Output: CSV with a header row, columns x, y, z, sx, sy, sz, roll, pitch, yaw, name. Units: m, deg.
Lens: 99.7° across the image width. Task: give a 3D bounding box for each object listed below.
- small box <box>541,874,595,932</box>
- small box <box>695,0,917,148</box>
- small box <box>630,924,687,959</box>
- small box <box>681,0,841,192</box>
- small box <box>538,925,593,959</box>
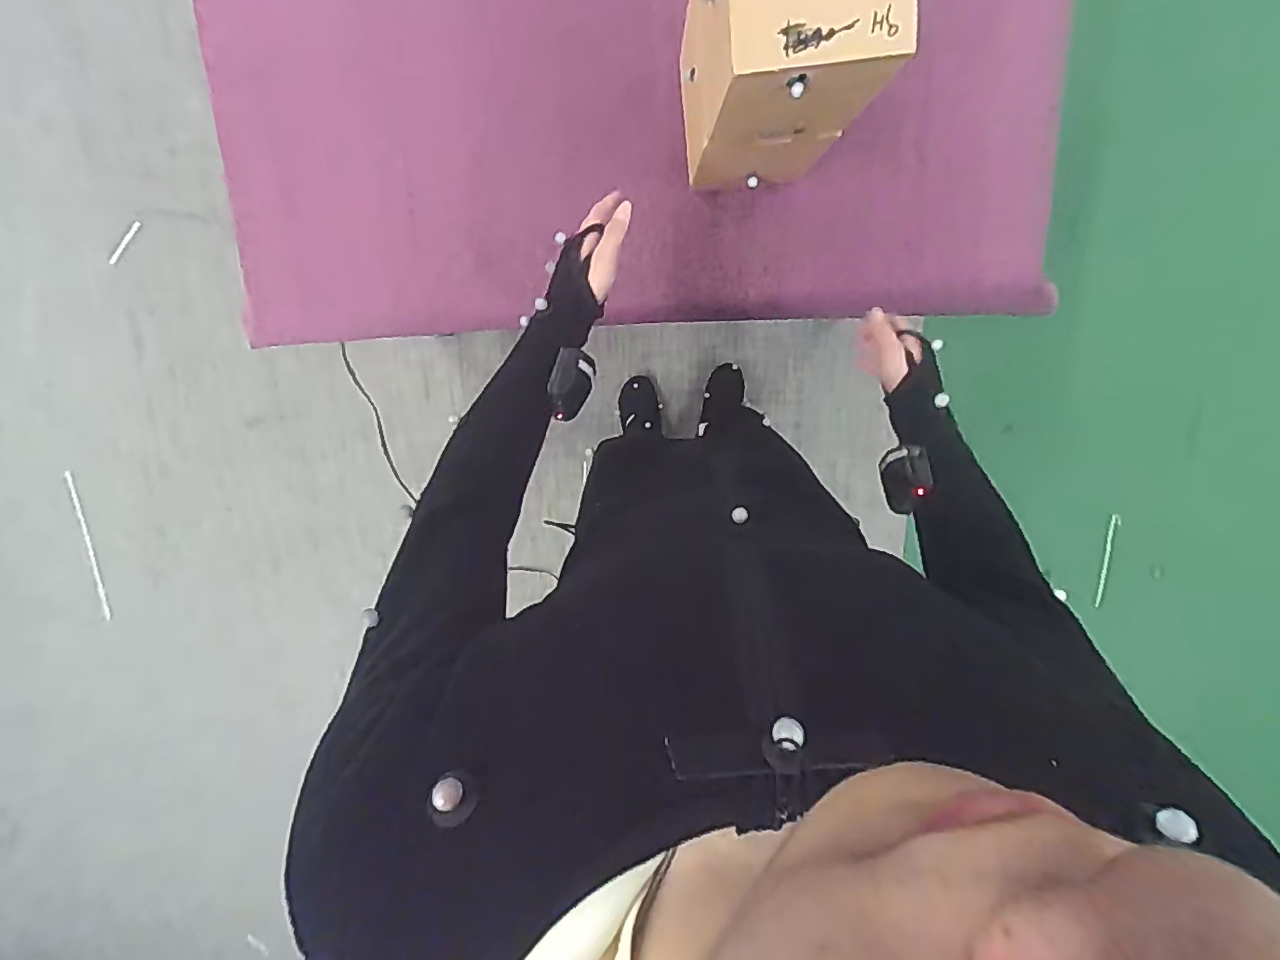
x,y,z,sx,sy,sz,roll,pitch,yaw,name
-0.235,1.452,1.785,0.168,0.176,0.179,2,102,-3,small box
0.150,-0.463,0.534,0.168,0.176,0.179,-7,101,0,small box
0.055,1.503,1.637,0.168,0.176,0.179,3,103,-1,small box
0.146,-0.496,0.695,0.168,0.176,0.179,-6,102,0,small box
-0.228,1.486,1.625,0.168,0.176,0.179,4,103,-4,small box
